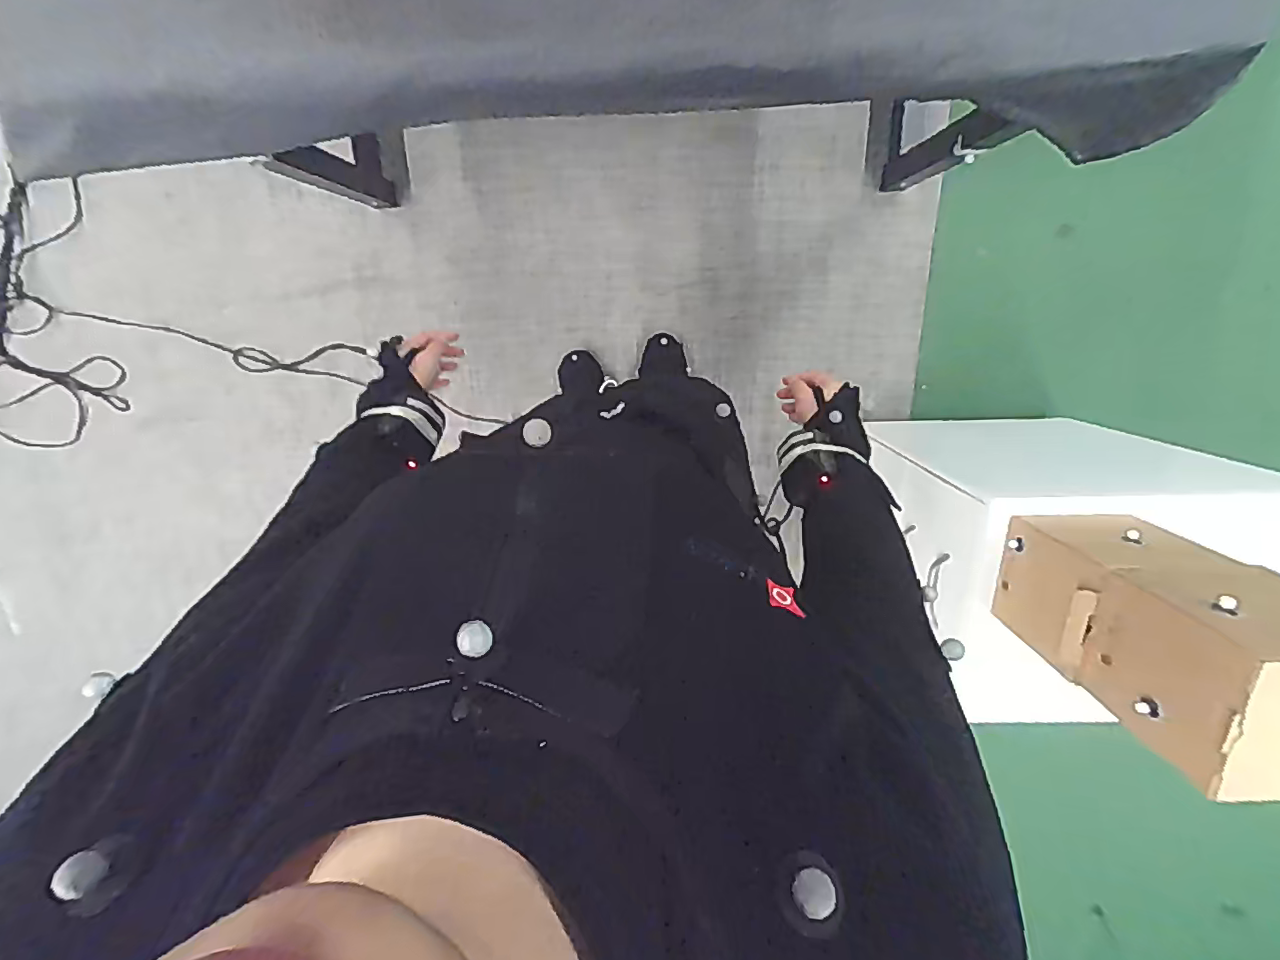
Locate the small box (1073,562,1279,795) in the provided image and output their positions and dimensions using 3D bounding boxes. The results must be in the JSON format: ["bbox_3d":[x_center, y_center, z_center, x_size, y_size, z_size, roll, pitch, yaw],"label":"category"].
[{"bbox_3d":[0.621,0.201,0.579,0.179,0.176,0.168,-4,110,0],"label":"small box"}]

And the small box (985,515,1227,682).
[{"bbox_3d":[0.611,0.153,0.735,0.179,0.176,0.168,-1,108,-1],"label":"small box"}]
